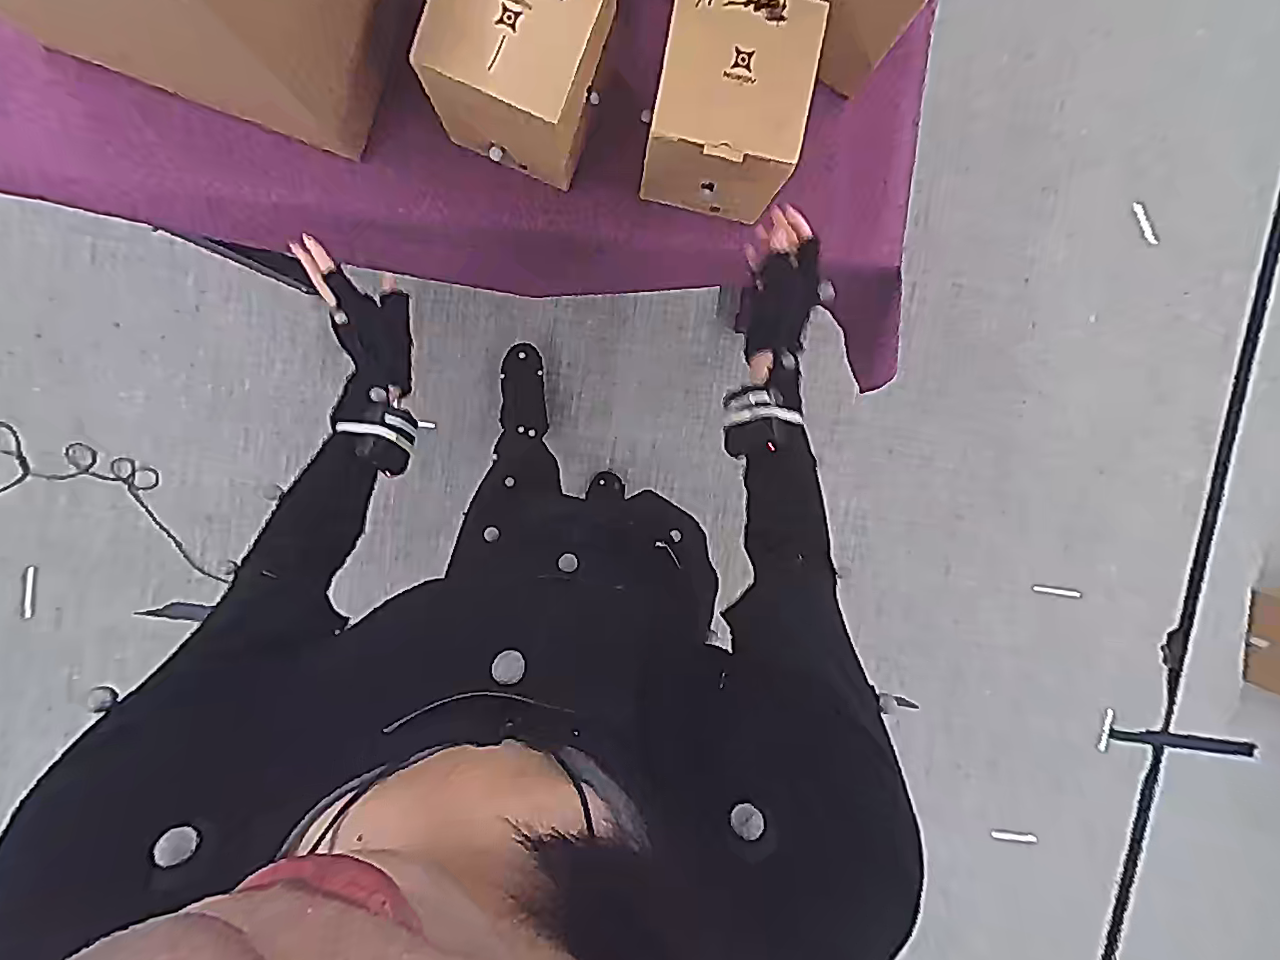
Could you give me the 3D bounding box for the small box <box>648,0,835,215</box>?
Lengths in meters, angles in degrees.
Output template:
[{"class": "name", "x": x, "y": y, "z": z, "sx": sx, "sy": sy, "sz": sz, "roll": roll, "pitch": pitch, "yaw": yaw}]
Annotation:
[{"class": "small box", "x": 0.106, "y": -0.449, "z": 0.650, "sx": 0.168, "sy": 0.176, "sz": 0.179, "roll": 12, "pitch": 95, "yaw": -4}]
